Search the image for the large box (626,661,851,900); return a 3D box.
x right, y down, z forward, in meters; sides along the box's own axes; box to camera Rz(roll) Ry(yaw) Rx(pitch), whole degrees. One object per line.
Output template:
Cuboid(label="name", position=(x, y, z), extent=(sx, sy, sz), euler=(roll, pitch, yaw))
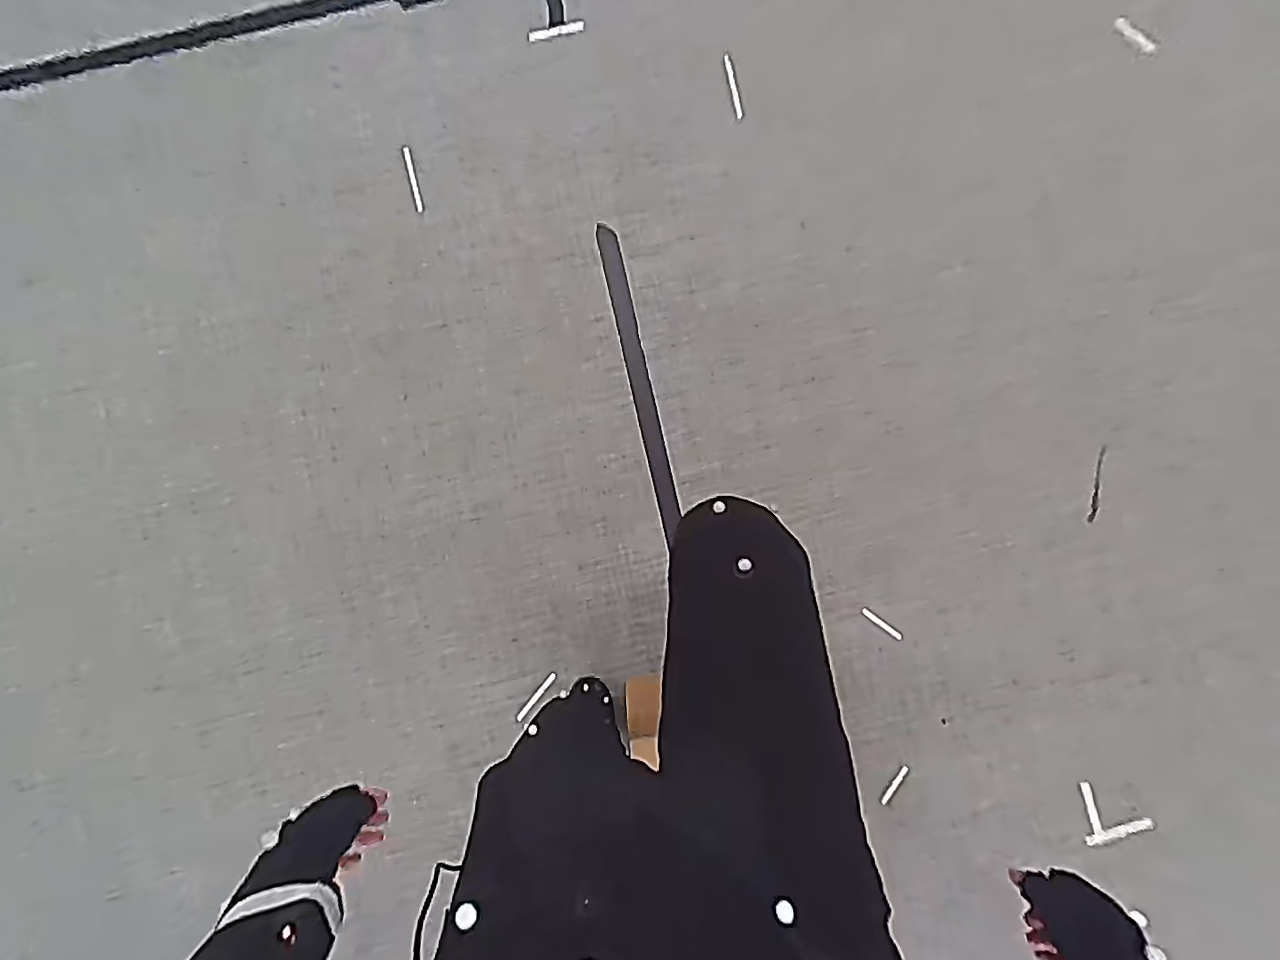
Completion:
Cuboid(label="large box", position=(0.187, 0.617, 1.175), extent=(0.408, 0.320, 0.320), euler=(-6, 90, -3))
